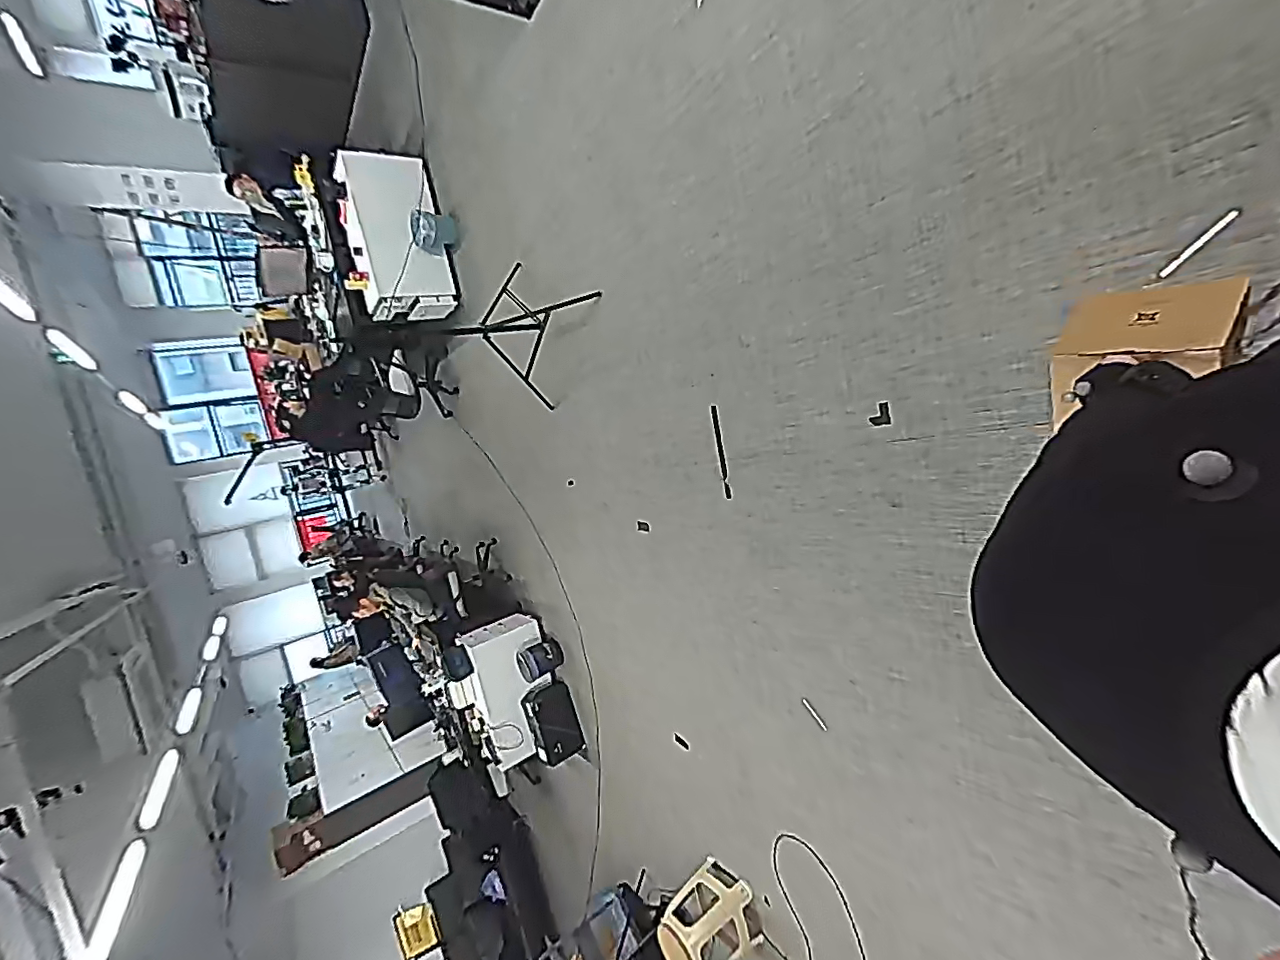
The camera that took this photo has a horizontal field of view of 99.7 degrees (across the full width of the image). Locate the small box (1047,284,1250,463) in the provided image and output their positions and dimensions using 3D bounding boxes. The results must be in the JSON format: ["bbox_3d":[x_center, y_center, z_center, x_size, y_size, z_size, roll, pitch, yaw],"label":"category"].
[{"bbox_3d":[0.697,-0.143,0.746,0.168,0.179,0.176,14,139,51],"label":"small box"}]
